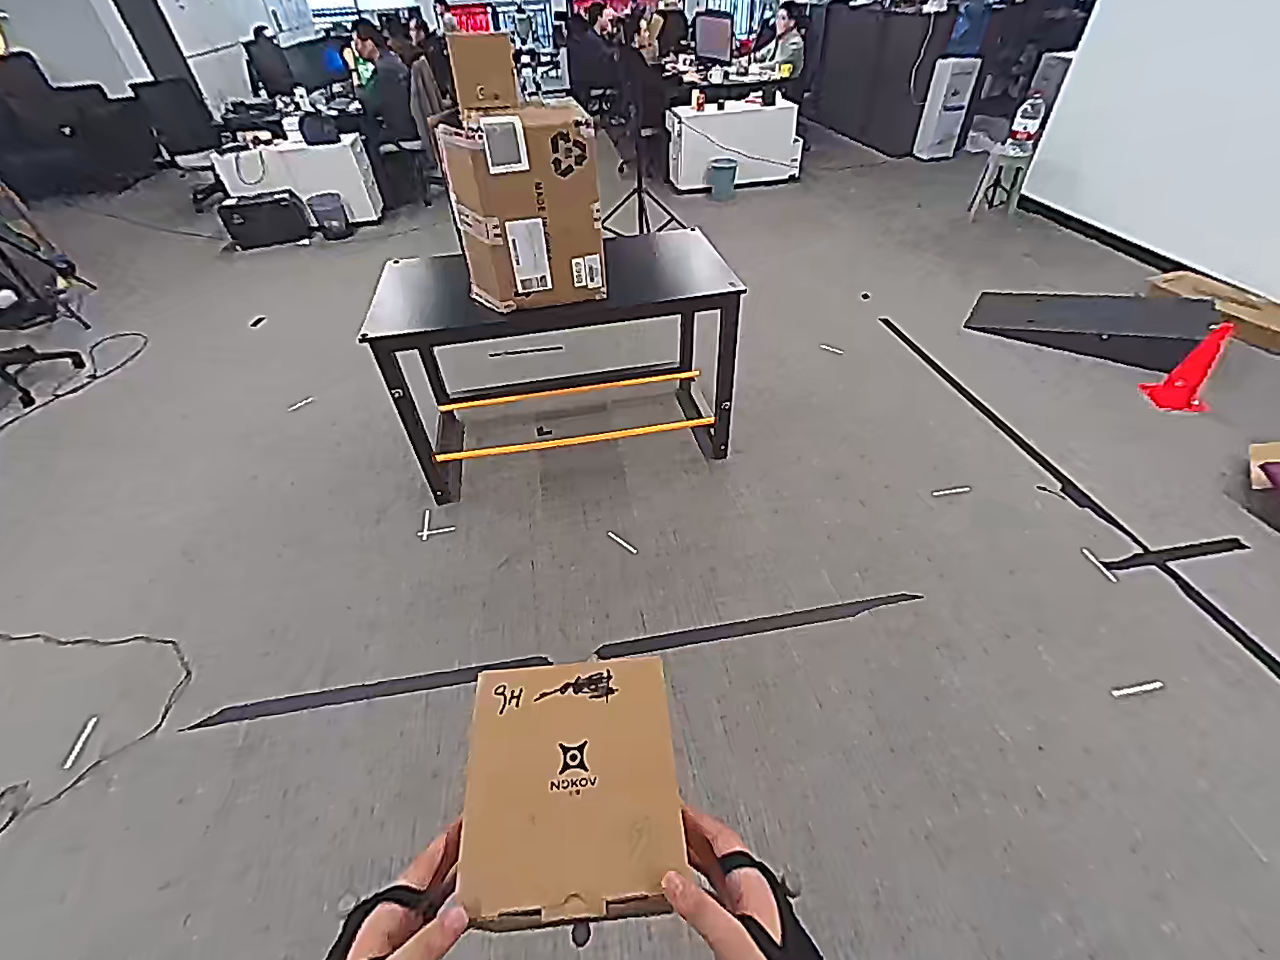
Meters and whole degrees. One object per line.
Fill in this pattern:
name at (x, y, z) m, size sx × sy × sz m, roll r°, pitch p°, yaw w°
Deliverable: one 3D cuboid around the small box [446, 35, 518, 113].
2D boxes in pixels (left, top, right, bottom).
small box at (-0.449, -1.157, 1.541) m, size 0.168 × 0.176 × 0.179 m, roll -12°, pitch 42°, yaw -11°
